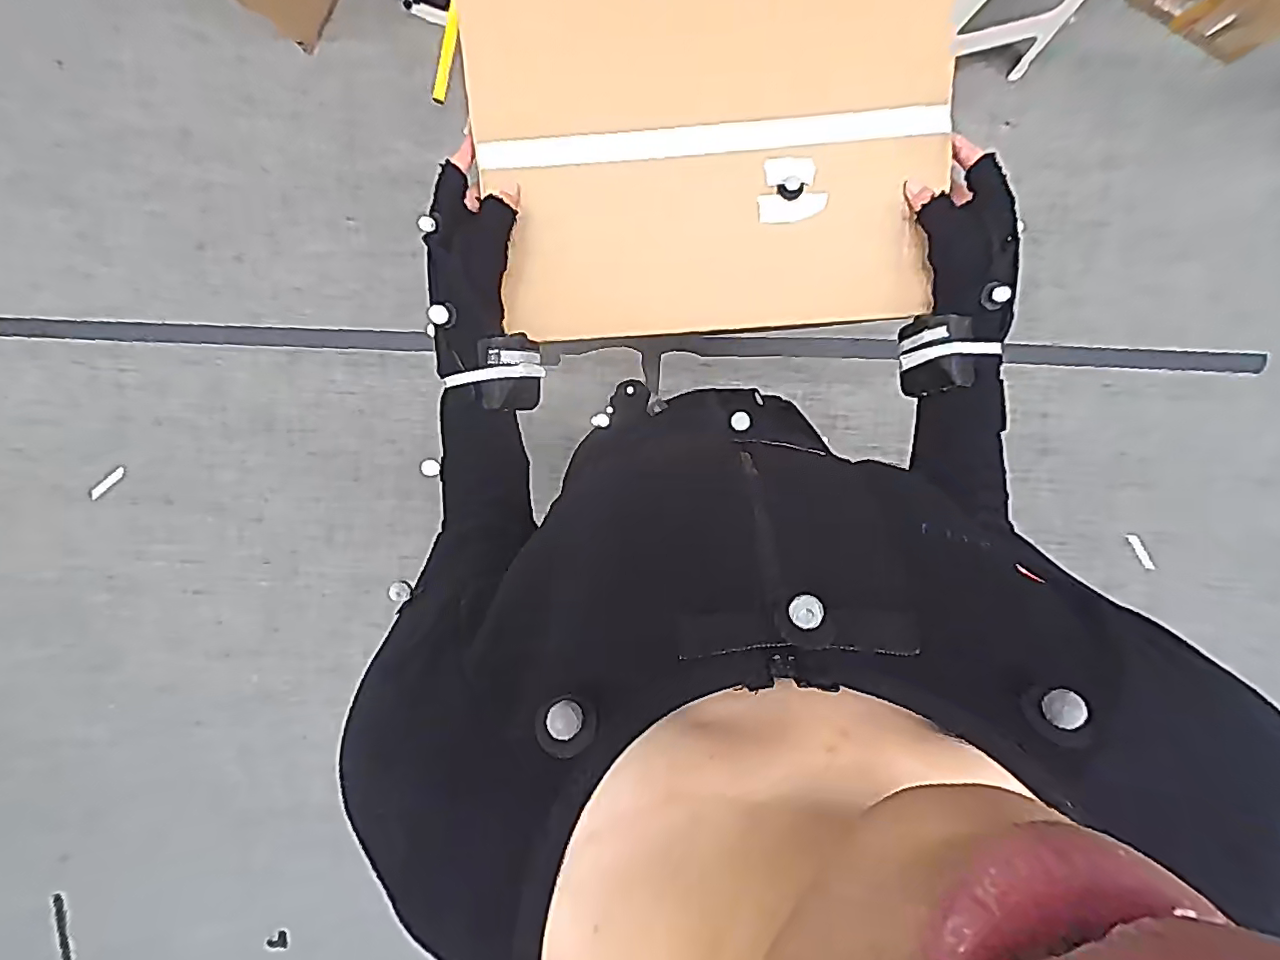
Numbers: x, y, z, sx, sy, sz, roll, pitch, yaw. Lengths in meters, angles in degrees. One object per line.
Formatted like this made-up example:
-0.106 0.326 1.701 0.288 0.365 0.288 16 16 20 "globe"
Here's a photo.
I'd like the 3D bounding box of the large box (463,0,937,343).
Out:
0.056 -0.333 0.621 0.408 0.320 0.320 -3 104 1 "large box"
